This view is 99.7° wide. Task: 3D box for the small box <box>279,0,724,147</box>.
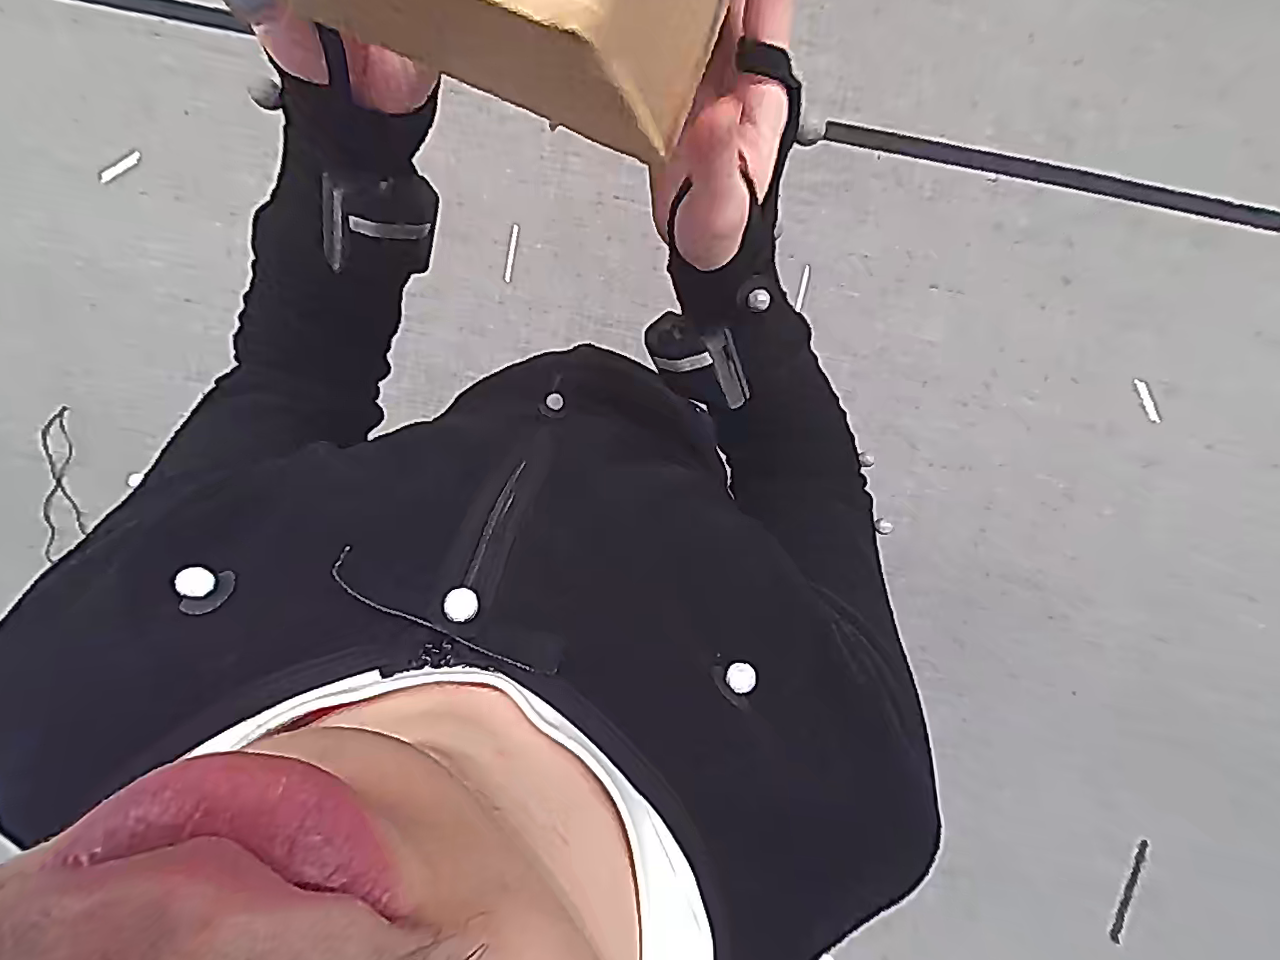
[{"bbox_3d":[-0.049,-0.210,0.139,0.179,0.176,0.168,20,116,-3],"label":"small box"}]
